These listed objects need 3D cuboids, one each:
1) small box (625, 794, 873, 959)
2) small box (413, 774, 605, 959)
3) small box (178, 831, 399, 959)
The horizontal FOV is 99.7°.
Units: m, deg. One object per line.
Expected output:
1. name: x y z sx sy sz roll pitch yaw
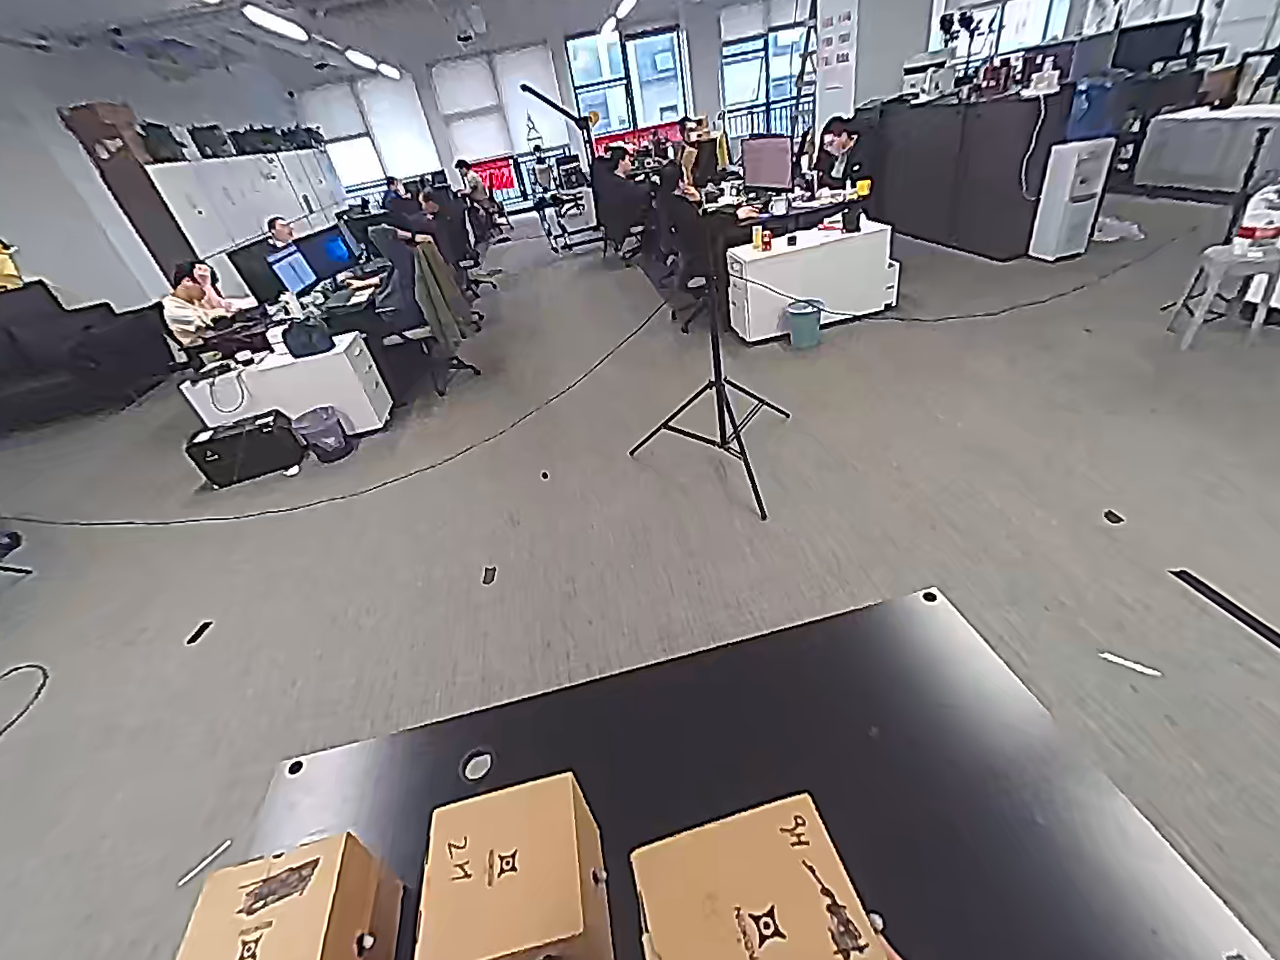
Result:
1. small box: 0.099 0.428 0.487 0.179 0.176 0.168 -15 36 -5
2. small box: -0.144 0.494 0.649 0.179 0.176 0.168 -14 34 -3
3. small box: -0.402 0.559 0.630 0.168 0.176 0.179 -15 35 -5
